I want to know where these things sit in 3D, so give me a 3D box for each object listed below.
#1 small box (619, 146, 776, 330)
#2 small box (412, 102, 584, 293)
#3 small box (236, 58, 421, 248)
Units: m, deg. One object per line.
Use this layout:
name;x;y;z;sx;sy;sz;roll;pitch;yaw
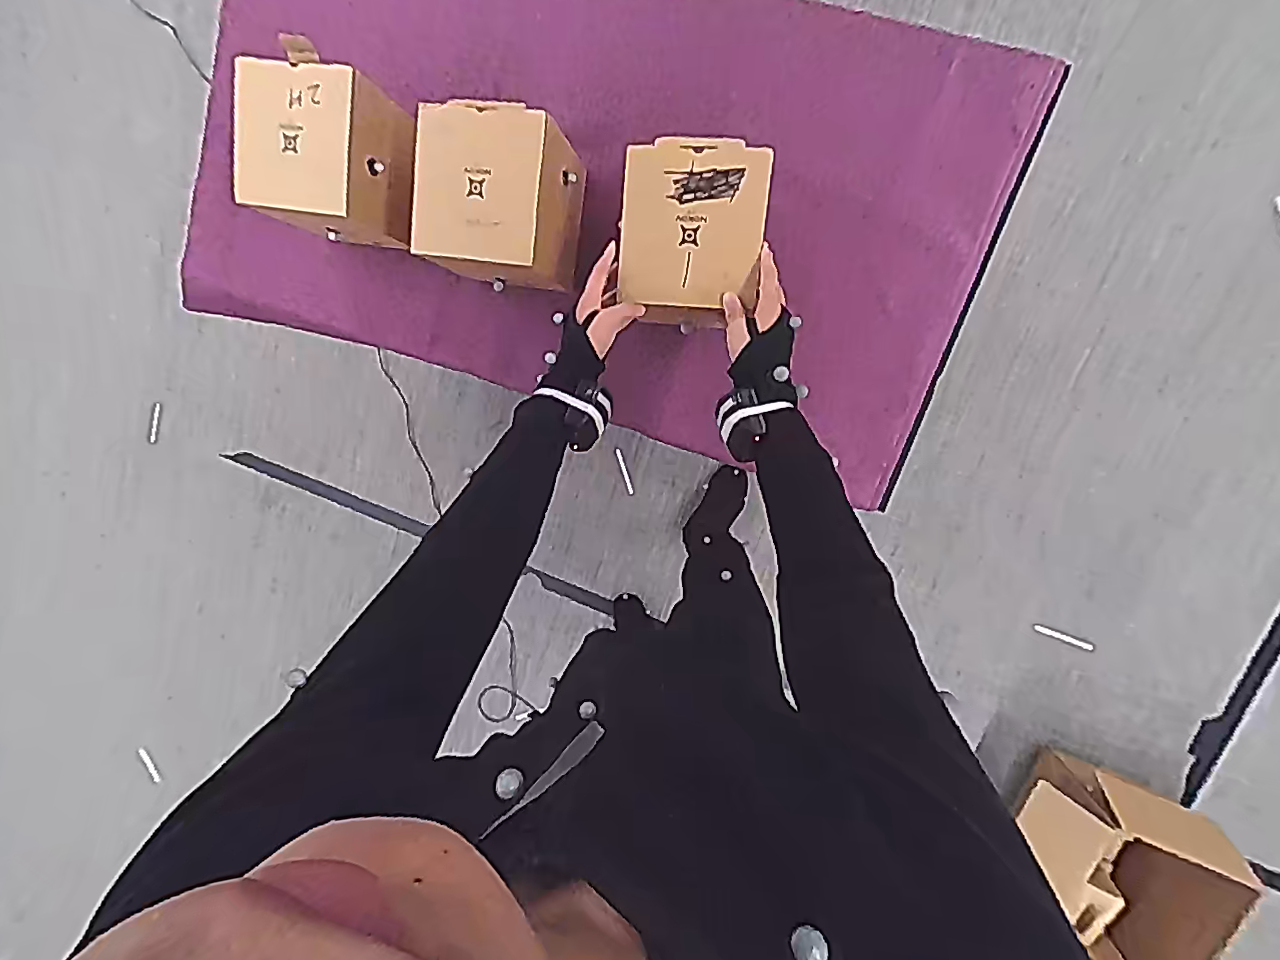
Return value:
small box;0.075;-0.298;0.696;0.168;0.176;0.179;7;100;9
small box;-0.181;-0.368;0.731;0.168;0.176;0.179;10;100;9
small box;-0.421;-0.442;0.759;0.168;0.176;0.179;11;100;7
